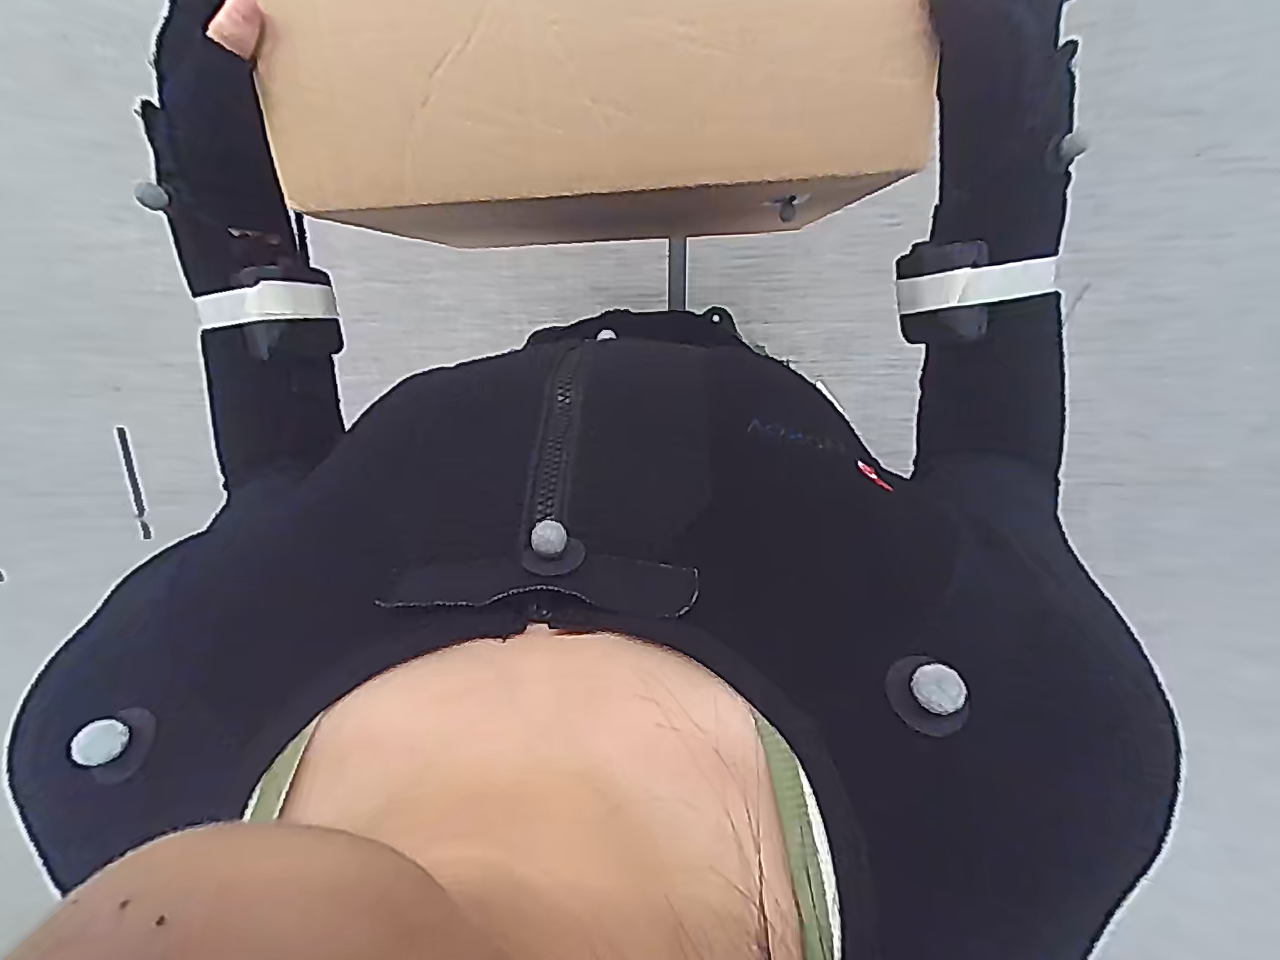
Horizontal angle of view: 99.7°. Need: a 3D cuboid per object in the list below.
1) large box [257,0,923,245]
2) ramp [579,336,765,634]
[{"bbox_3d":[-0.029,-0.381,0.446,0.408,0.320,0.320,-2,108,3],"label":"large box"},{"bbox_3d":[0.104,0.077,1.627,0.509,0.206,0.991,-2,107,5],"label":"ramp"}]
